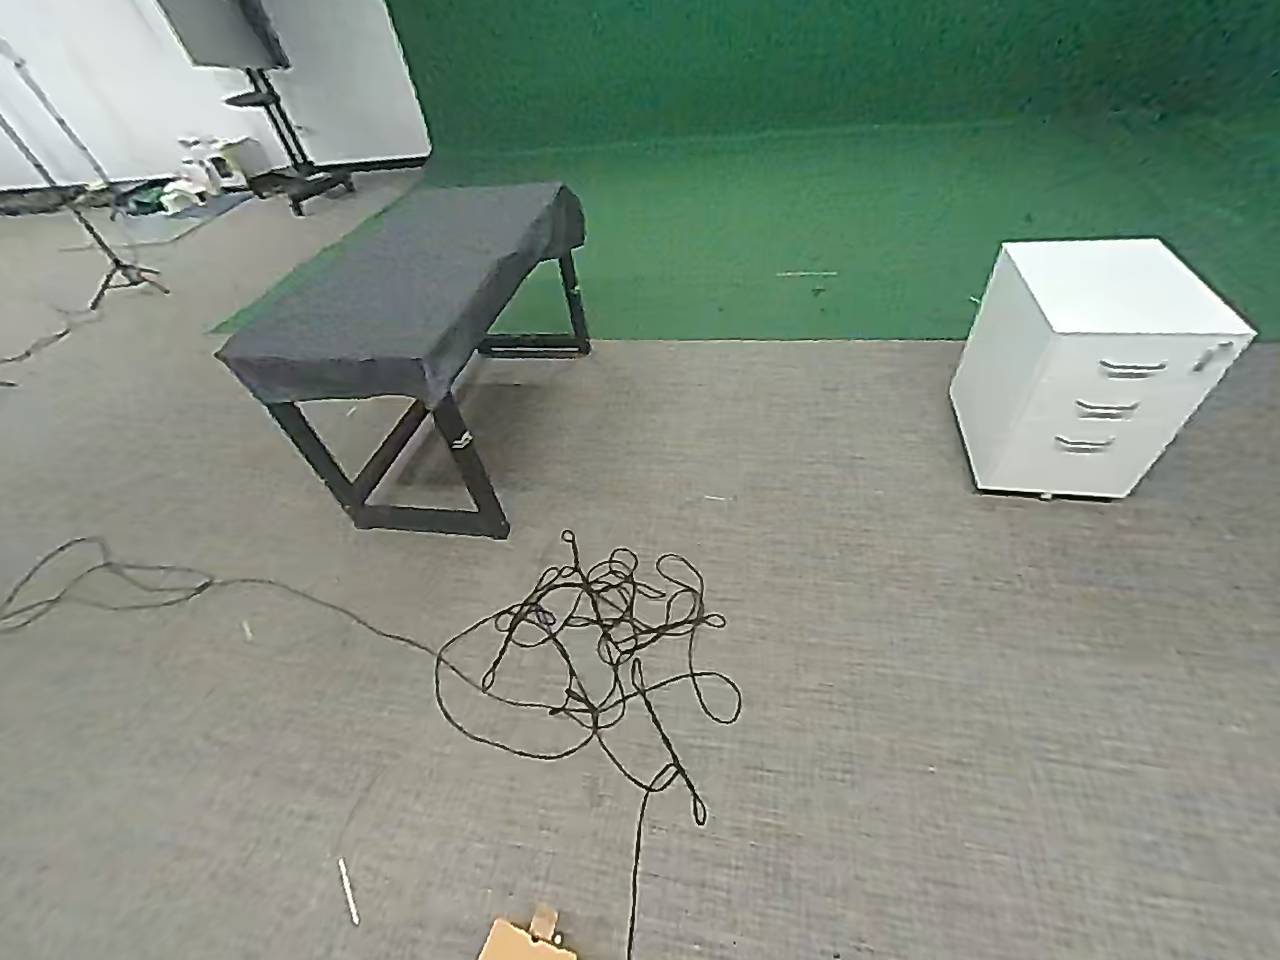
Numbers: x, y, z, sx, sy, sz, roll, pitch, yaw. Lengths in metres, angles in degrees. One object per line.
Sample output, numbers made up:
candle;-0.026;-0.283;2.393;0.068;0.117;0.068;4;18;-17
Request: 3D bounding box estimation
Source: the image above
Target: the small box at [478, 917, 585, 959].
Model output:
small box;-0.204;0.917;0.949;0.168;0.176;0.179;11;47;18
